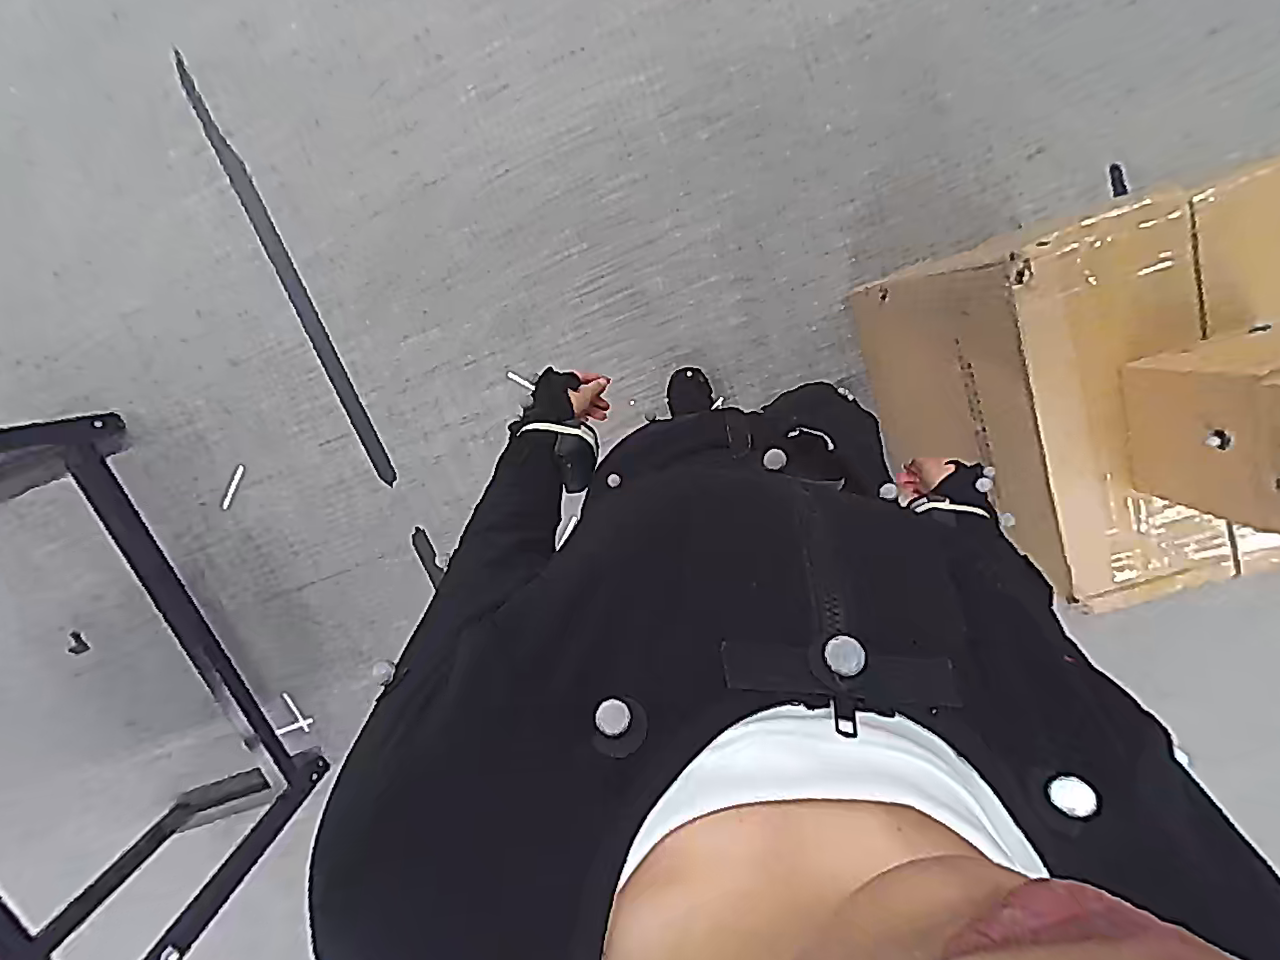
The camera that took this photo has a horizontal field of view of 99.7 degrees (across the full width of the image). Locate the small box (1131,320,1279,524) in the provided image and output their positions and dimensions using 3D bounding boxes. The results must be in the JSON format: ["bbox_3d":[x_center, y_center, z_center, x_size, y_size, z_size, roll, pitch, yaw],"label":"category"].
[{"bbox_3d":[0.704,-0.076,0.605,0.168,0.176,0.179,-18,104,8],"label":"small box"}]
